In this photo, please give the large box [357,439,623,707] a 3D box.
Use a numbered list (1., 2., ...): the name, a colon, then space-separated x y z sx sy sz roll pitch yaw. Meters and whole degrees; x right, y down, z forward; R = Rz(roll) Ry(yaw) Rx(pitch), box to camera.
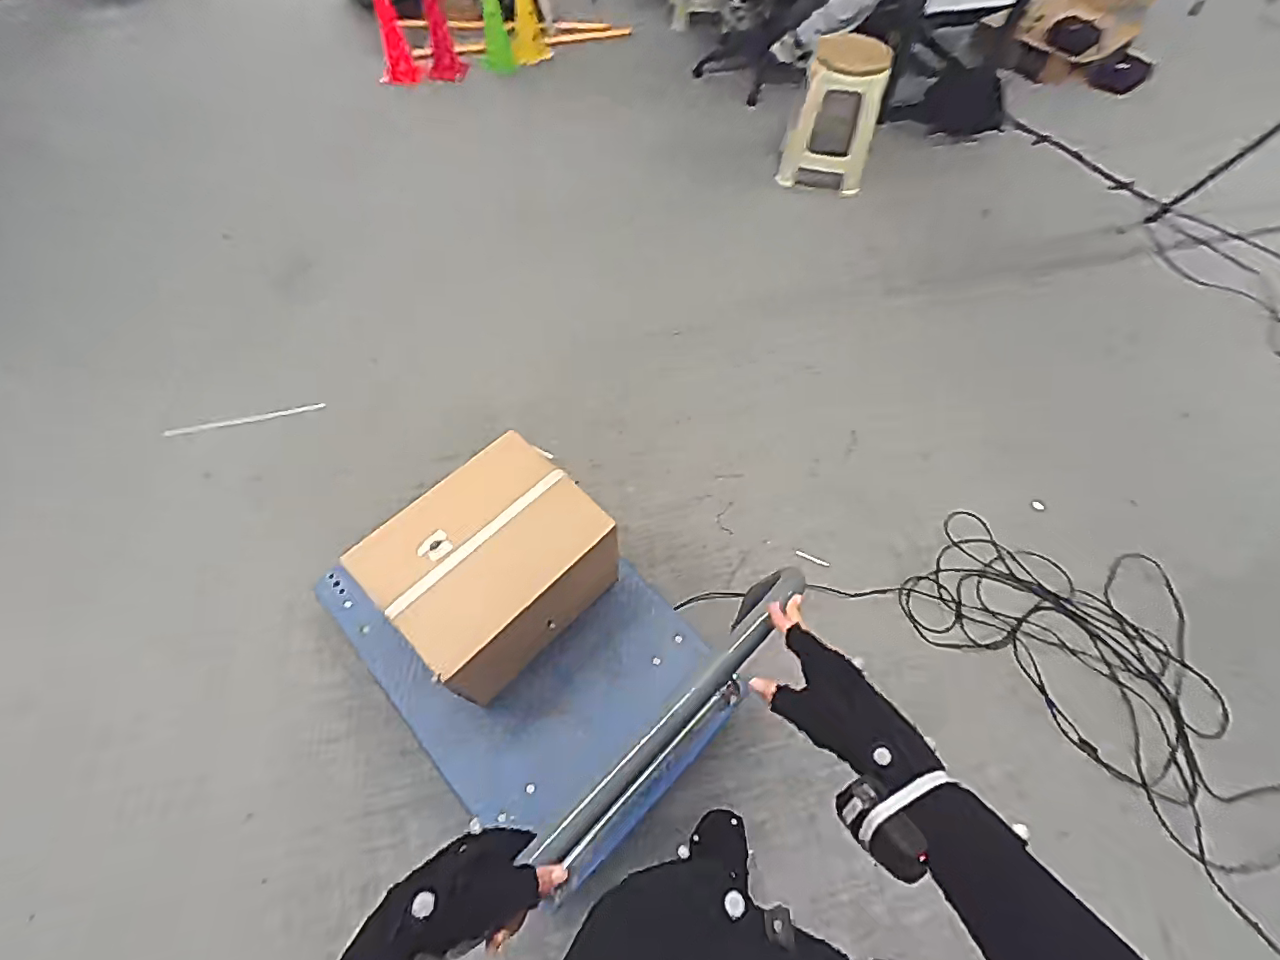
1. large box: -0.277 0.200 1.138 0.320 0.320 0.408 39 67 19
